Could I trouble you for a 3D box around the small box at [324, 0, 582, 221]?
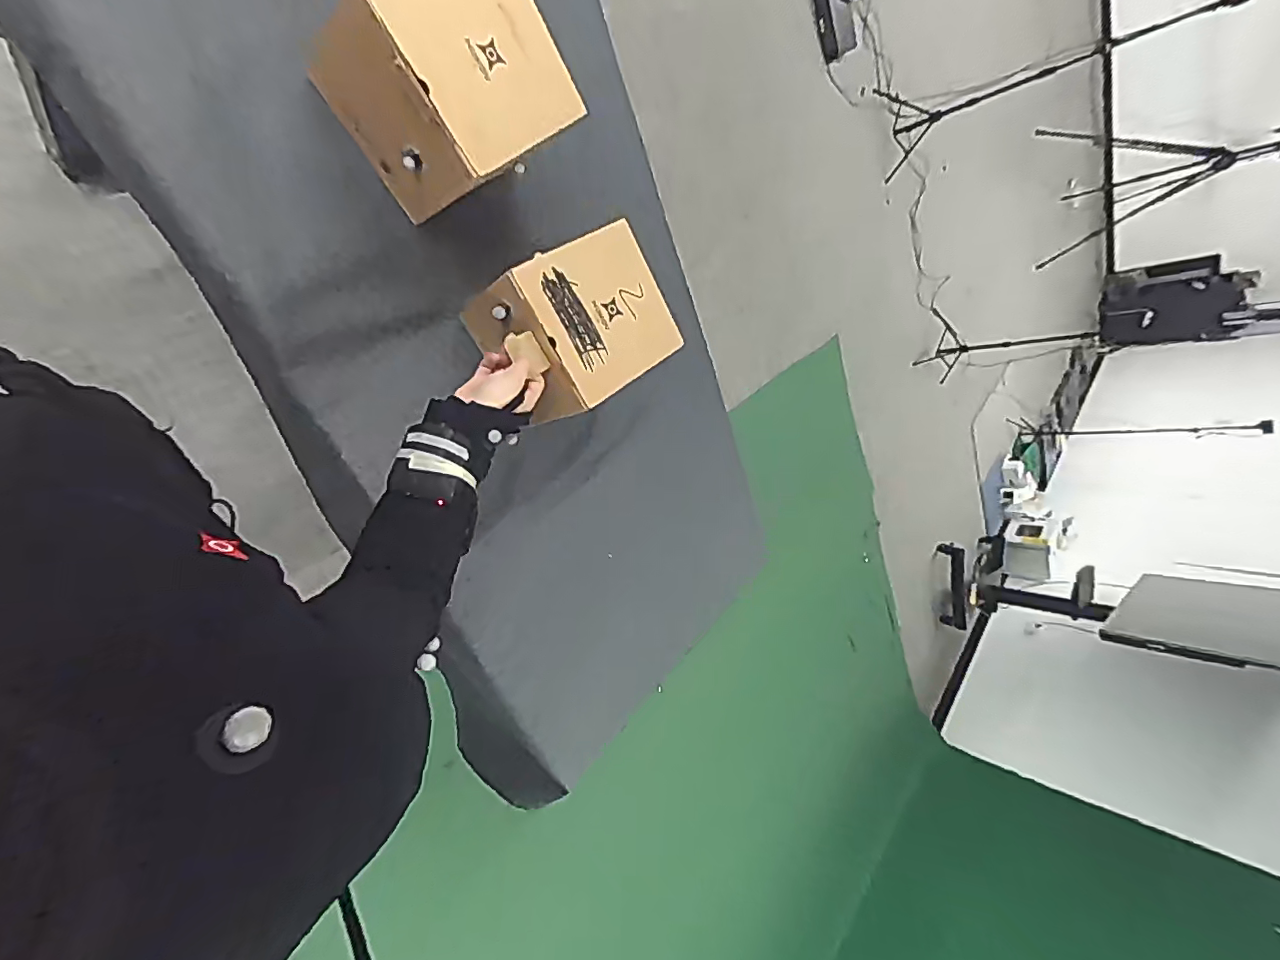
[{"bbox_3d":[-0.203,-0.410,0.580,0.179,0.176,0.168,-51,126,-28],"label":"small box"}]
